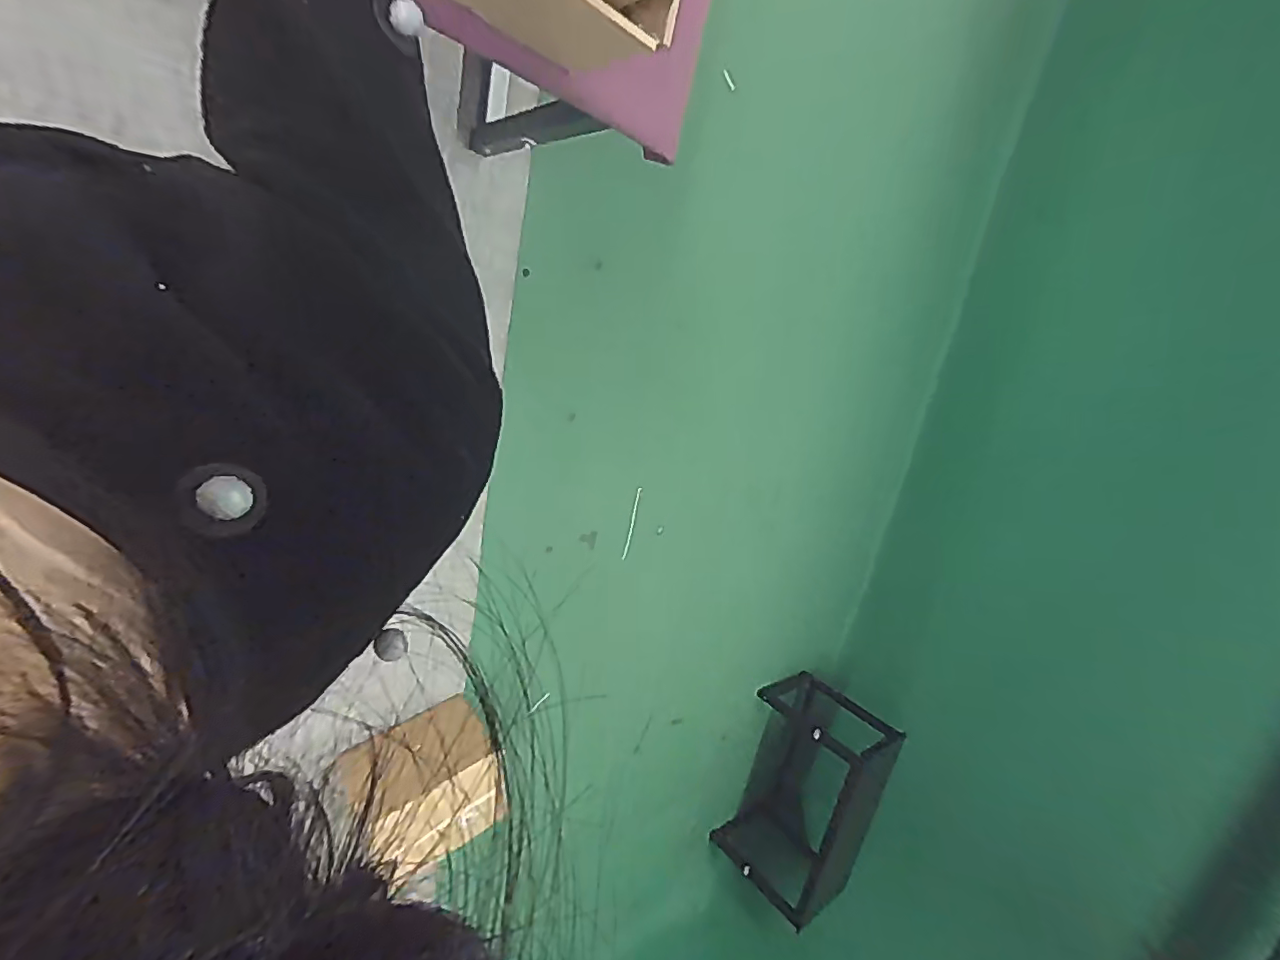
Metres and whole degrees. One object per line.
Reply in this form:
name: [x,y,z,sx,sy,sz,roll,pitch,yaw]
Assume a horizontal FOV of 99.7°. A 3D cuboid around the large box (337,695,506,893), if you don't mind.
large box: [-0.703,0.993,1.763,0.408,0.320,0.320,-19,121,-37]
